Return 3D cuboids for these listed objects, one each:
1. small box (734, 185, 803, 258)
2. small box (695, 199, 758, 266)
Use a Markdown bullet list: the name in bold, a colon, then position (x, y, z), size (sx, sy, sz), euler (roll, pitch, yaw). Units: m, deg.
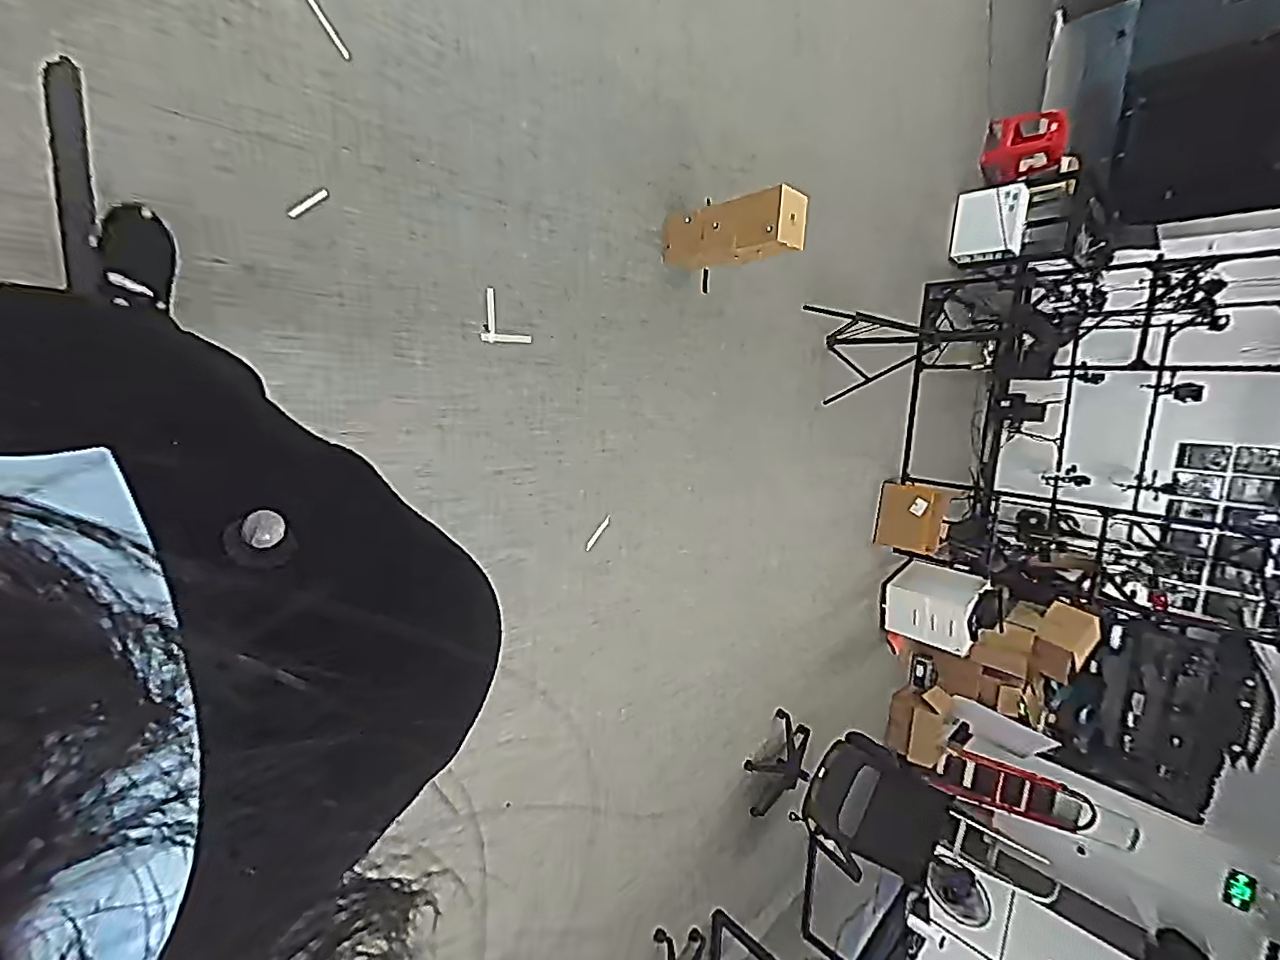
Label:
- **small box**: position (0.434, -0.869, 1.837), size (0.168, 0.176, 0.179), euler (-7, 104, -44)
- **small box**: position (0.317, -0.884, 1.950), size (0.179, 0.176, 0.168), euler (-2, 100, -46)
